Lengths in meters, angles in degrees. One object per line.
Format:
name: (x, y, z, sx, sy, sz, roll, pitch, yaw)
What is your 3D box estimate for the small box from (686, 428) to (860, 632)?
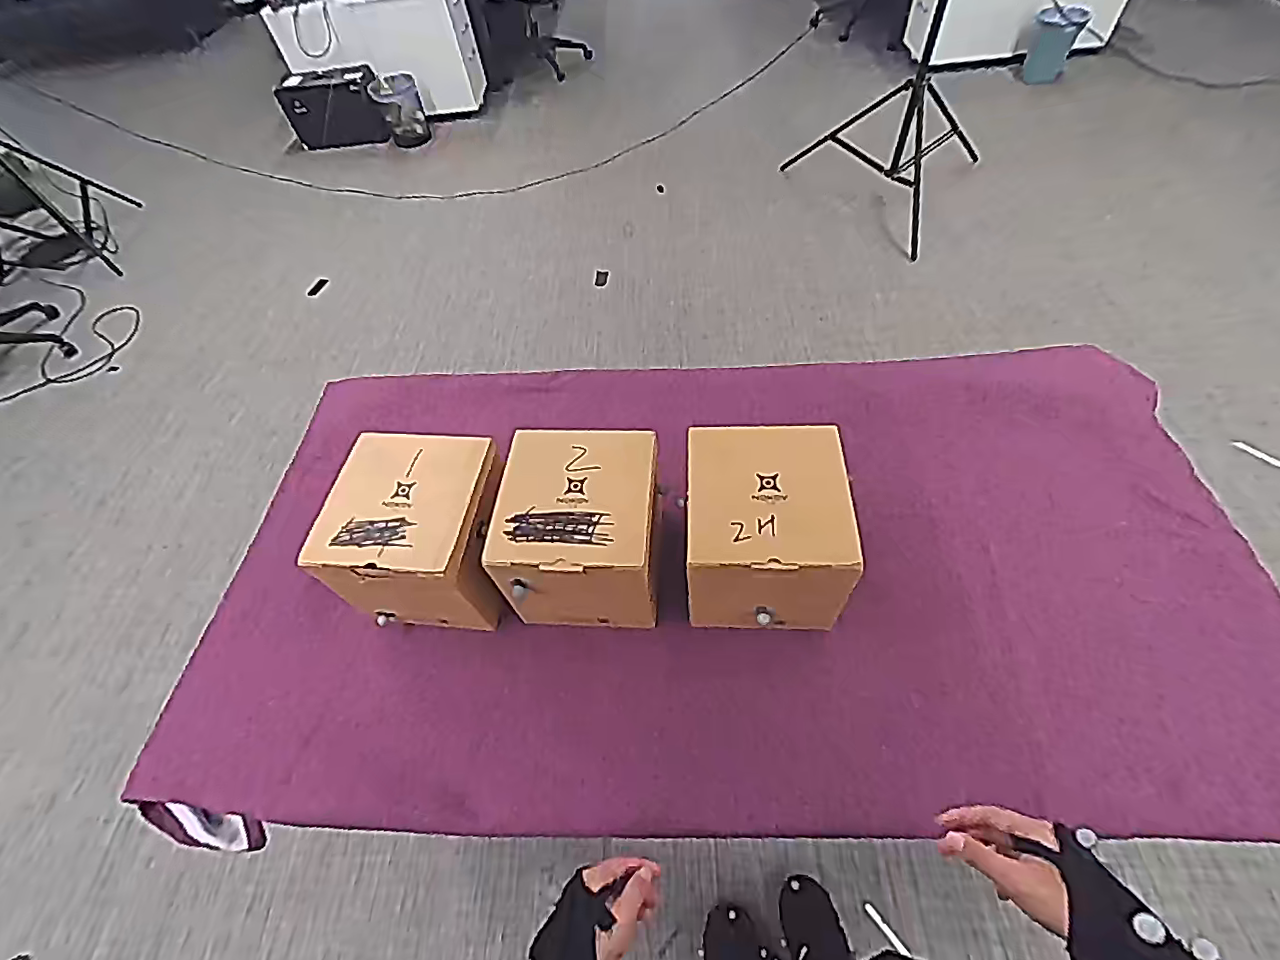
small box: (0.137, 0.058, 0.625, 0.168, 0.176, 0.179, -1, 55, 7)
